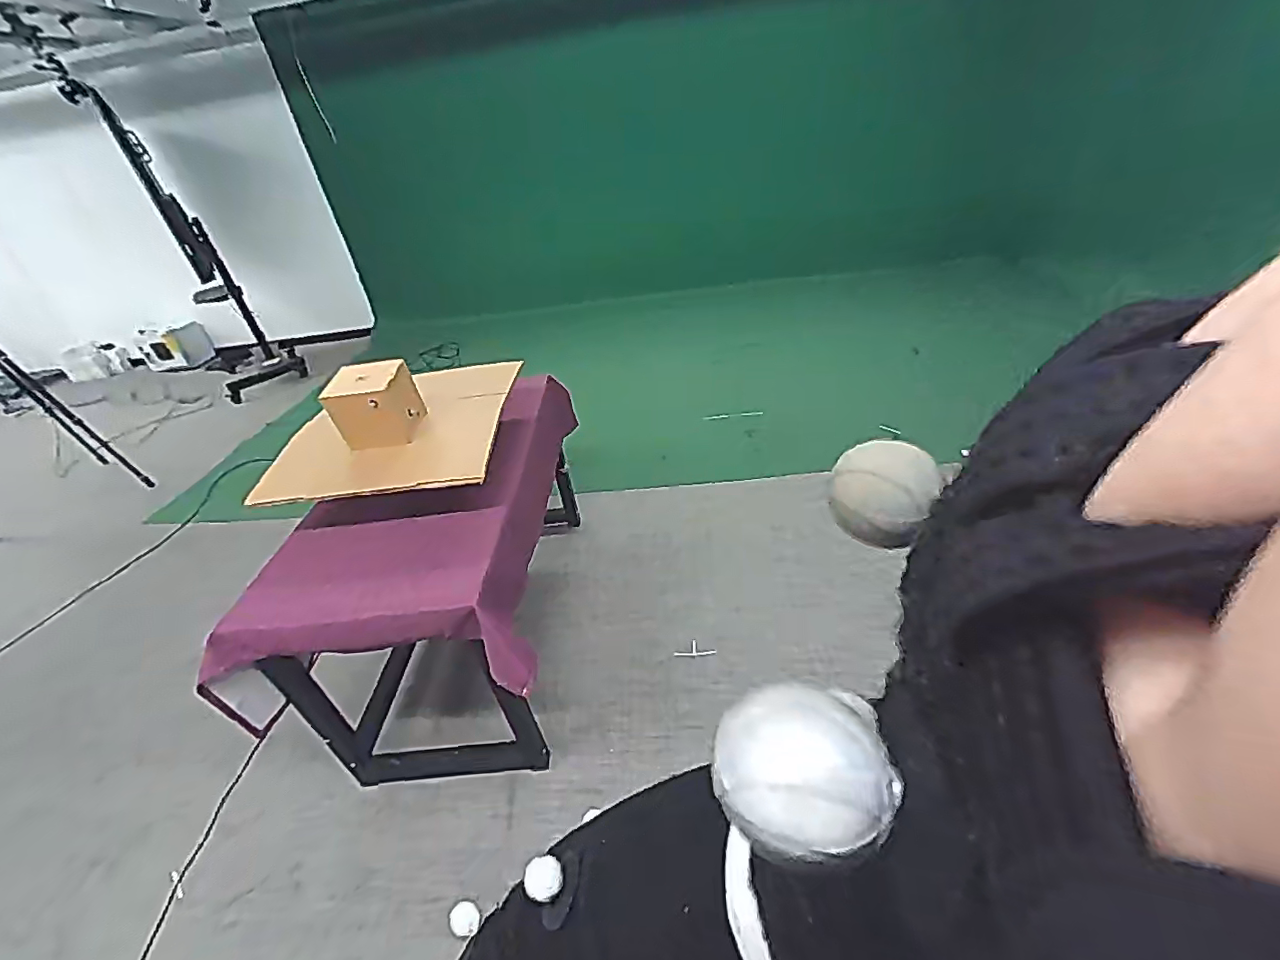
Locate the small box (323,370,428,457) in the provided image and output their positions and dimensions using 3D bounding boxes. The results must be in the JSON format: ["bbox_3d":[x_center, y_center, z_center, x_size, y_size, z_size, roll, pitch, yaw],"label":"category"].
[{"bbox_3d":[-0.710,-0.176,1.471,0.179,0.176,0.168,-7,40,3],"label":"small box"}]

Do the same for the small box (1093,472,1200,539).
[{"bbox_3d":[1.667,0.077,1.793,0.179,0.176,0.168,-8,33,4],"label":"small box"}]
